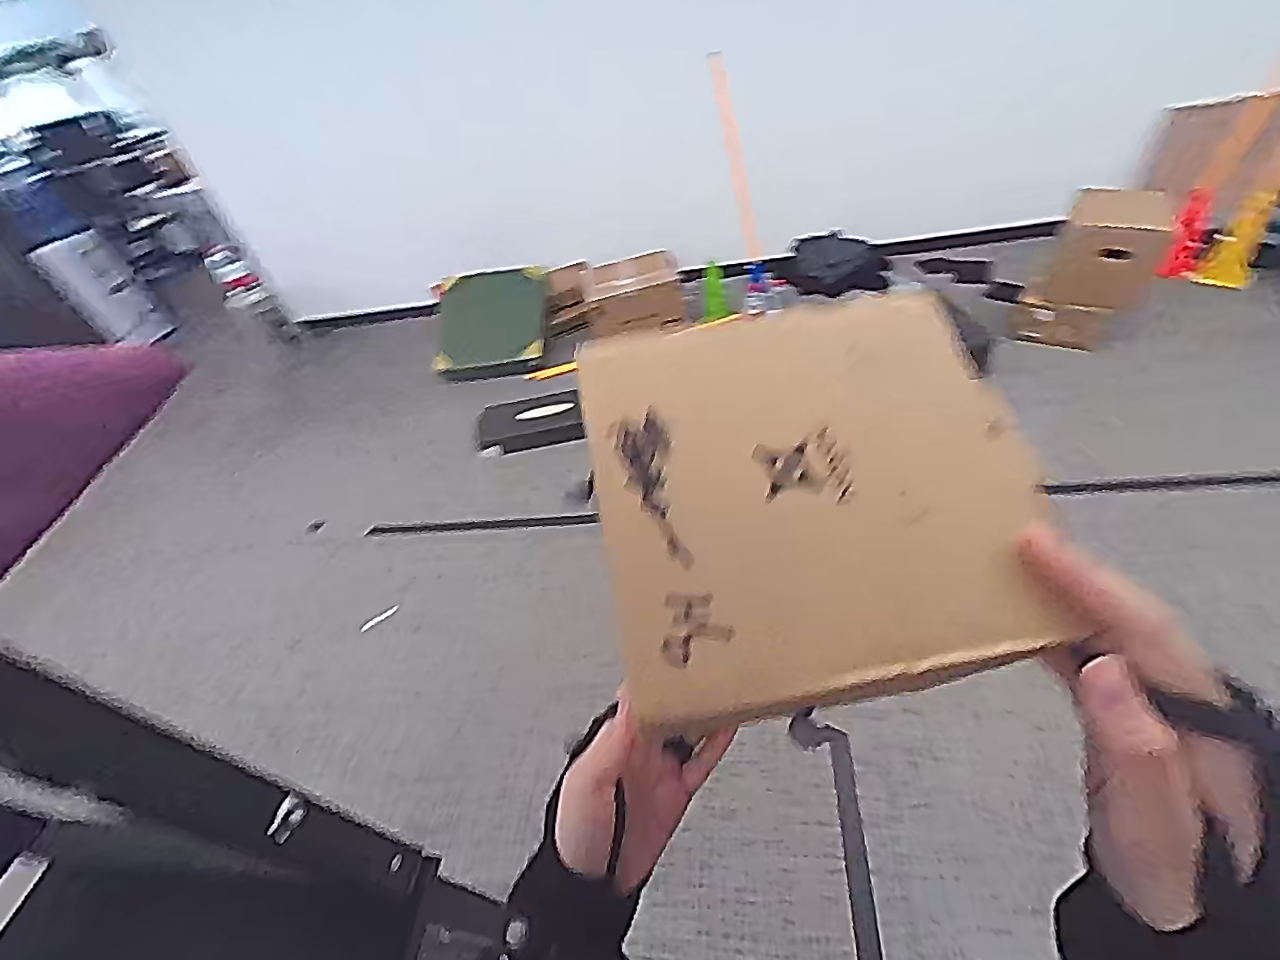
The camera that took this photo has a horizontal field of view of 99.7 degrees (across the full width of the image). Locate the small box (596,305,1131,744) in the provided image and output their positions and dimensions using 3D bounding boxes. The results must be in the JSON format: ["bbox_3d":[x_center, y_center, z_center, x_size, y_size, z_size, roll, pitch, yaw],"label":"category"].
[{"bbox_3d":[0.076,0.035,0.289,0.179,0.176,0.168,-8,61,-4],"label":"small box"}]
